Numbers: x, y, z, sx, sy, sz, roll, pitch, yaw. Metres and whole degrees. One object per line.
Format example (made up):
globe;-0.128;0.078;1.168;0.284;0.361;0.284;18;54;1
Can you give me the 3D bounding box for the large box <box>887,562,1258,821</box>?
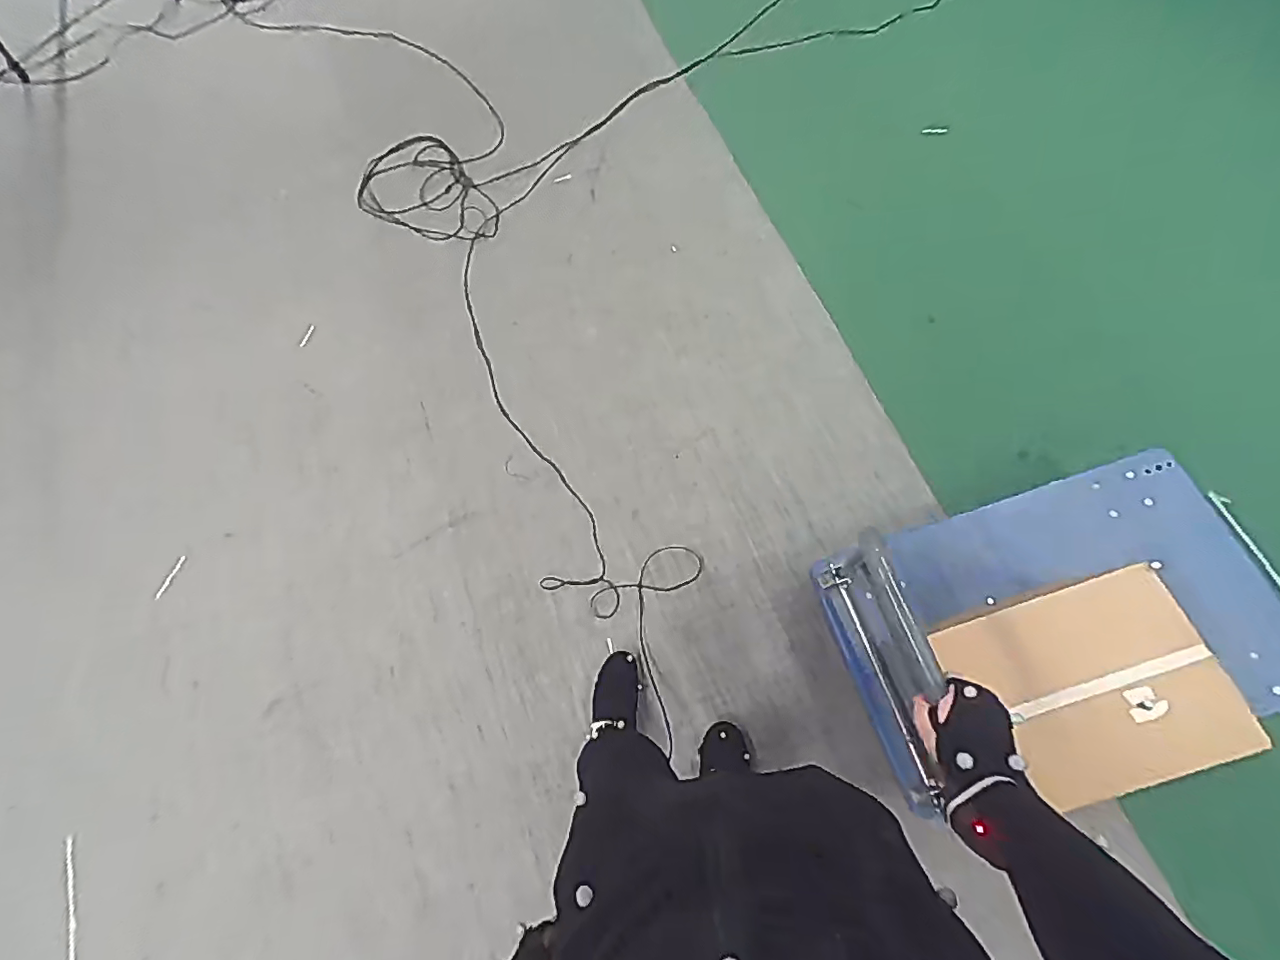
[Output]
large box;0.776;0.398;1.057;0.408;0.320;0.320;-21;70;3
